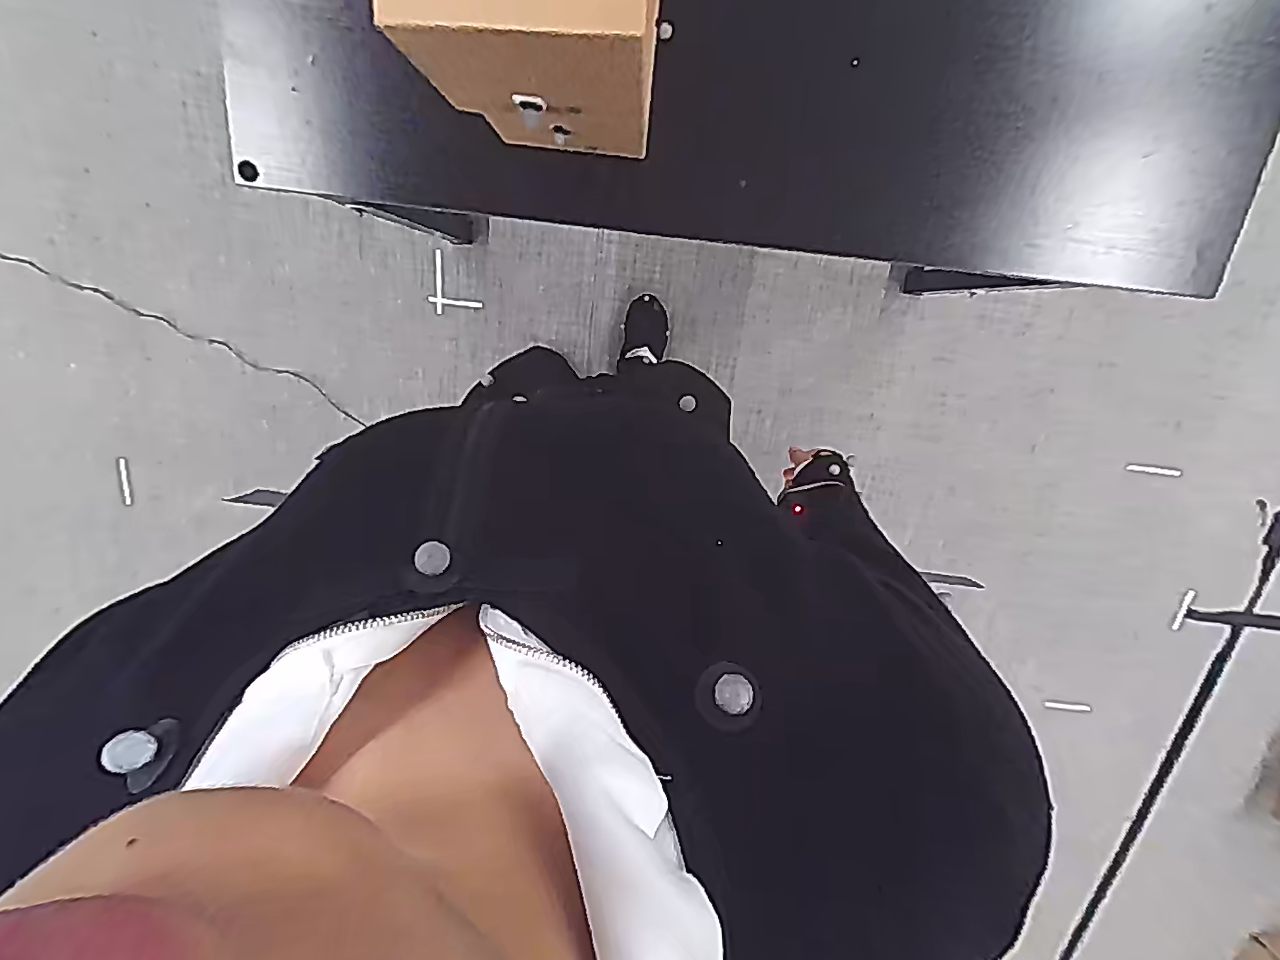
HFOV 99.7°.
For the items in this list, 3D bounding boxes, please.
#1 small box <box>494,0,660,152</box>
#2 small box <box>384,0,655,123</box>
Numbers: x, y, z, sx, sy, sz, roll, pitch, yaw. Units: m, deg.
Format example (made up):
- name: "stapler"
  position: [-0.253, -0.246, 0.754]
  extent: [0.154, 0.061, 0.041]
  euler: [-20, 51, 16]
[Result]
- name: "small box"
  position: [-0.067, -0.448, 0.535]
  extent: [0.168, 0.176, 0.179]
  euler: [5, 107, -3]
- name: "small box"
  position: [-0.071, -0.384, 0.385]
  extent: [0.168, 0.176, 0.179]
  euler: [2, 109, 0]
